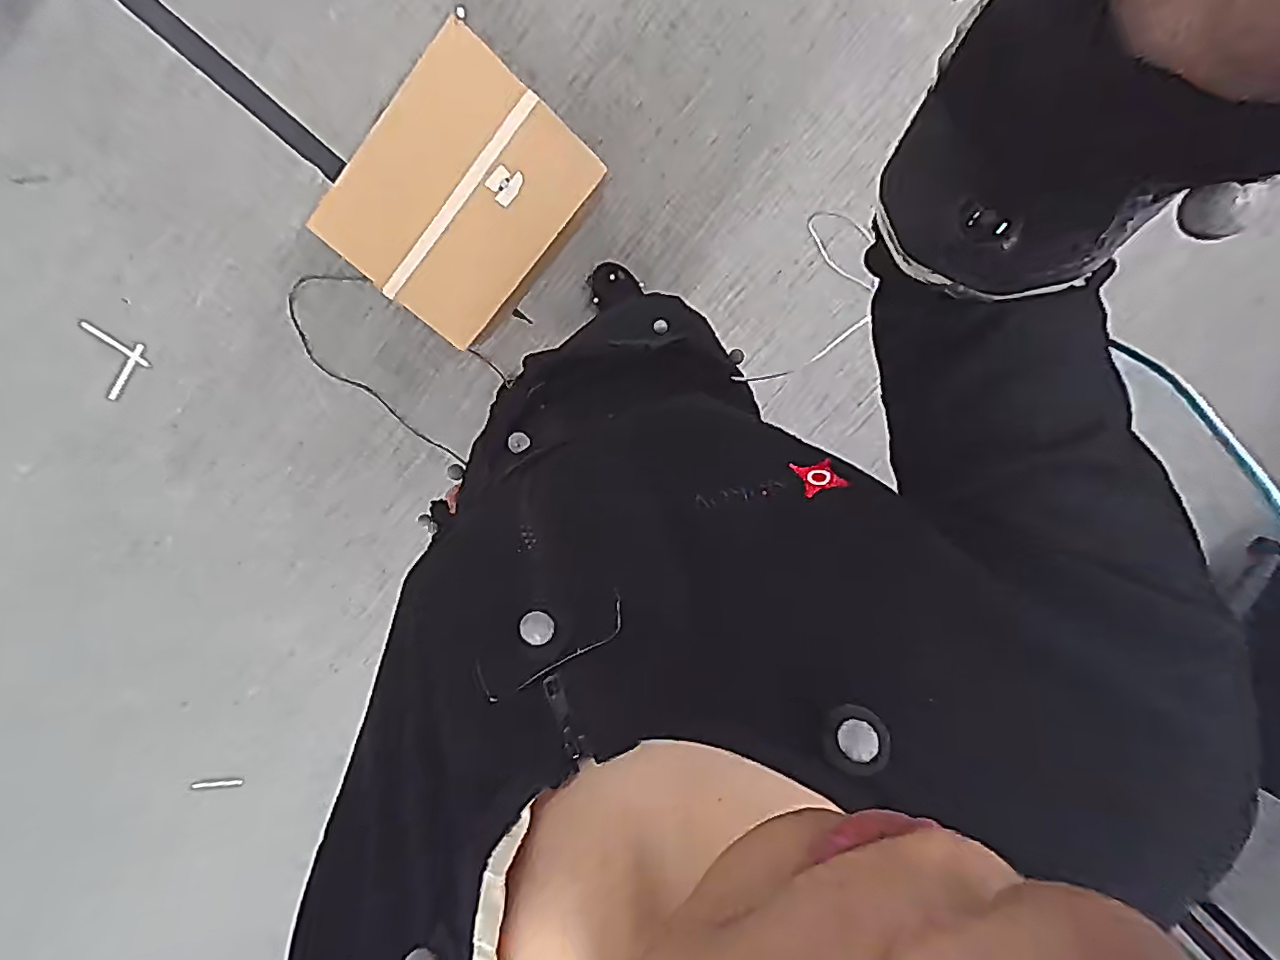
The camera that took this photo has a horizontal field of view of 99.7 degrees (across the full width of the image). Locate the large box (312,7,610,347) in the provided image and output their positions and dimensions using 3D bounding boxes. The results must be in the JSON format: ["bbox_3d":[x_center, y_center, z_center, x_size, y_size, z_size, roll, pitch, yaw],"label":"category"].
[{"bbox_3d":[-0.305,-0.510,1.014,0.320,0.320,0.408,39,99,-17],"label":"large box"}]
